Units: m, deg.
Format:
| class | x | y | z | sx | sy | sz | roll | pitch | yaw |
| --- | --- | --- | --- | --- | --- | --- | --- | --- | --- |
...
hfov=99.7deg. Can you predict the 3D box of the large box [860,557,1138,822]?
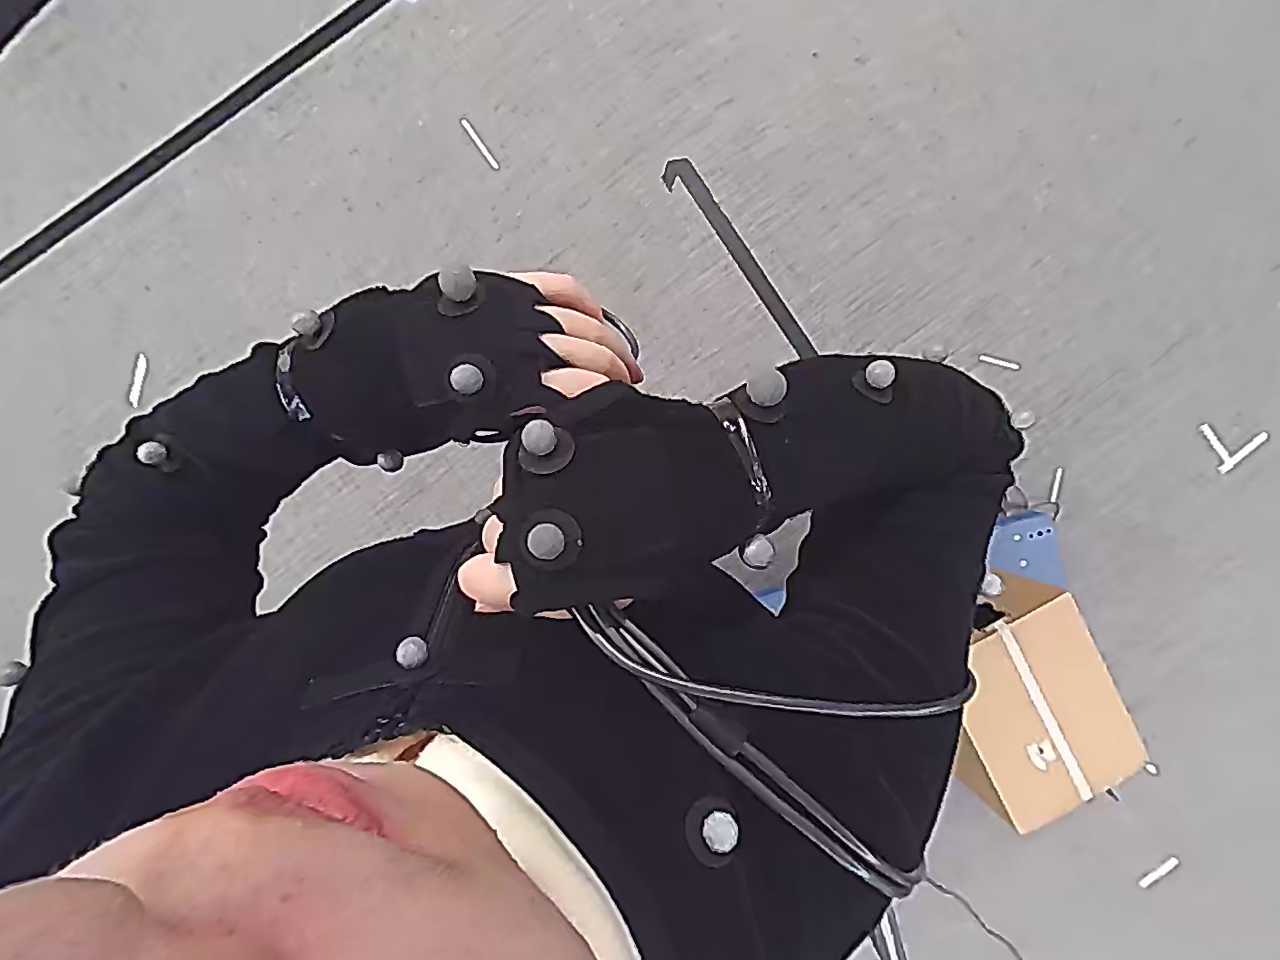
| class | x | y | z | sx | sy | sz | roll | pitch | yaw |
| --- | --- | --- | --- | --- | --- | --- | --- | --- | --- |
| large box | 0.782 | 0.443 | 1.231 | 0.320 | 0.320 | 0.408 | -28 | 94 | -1 |
